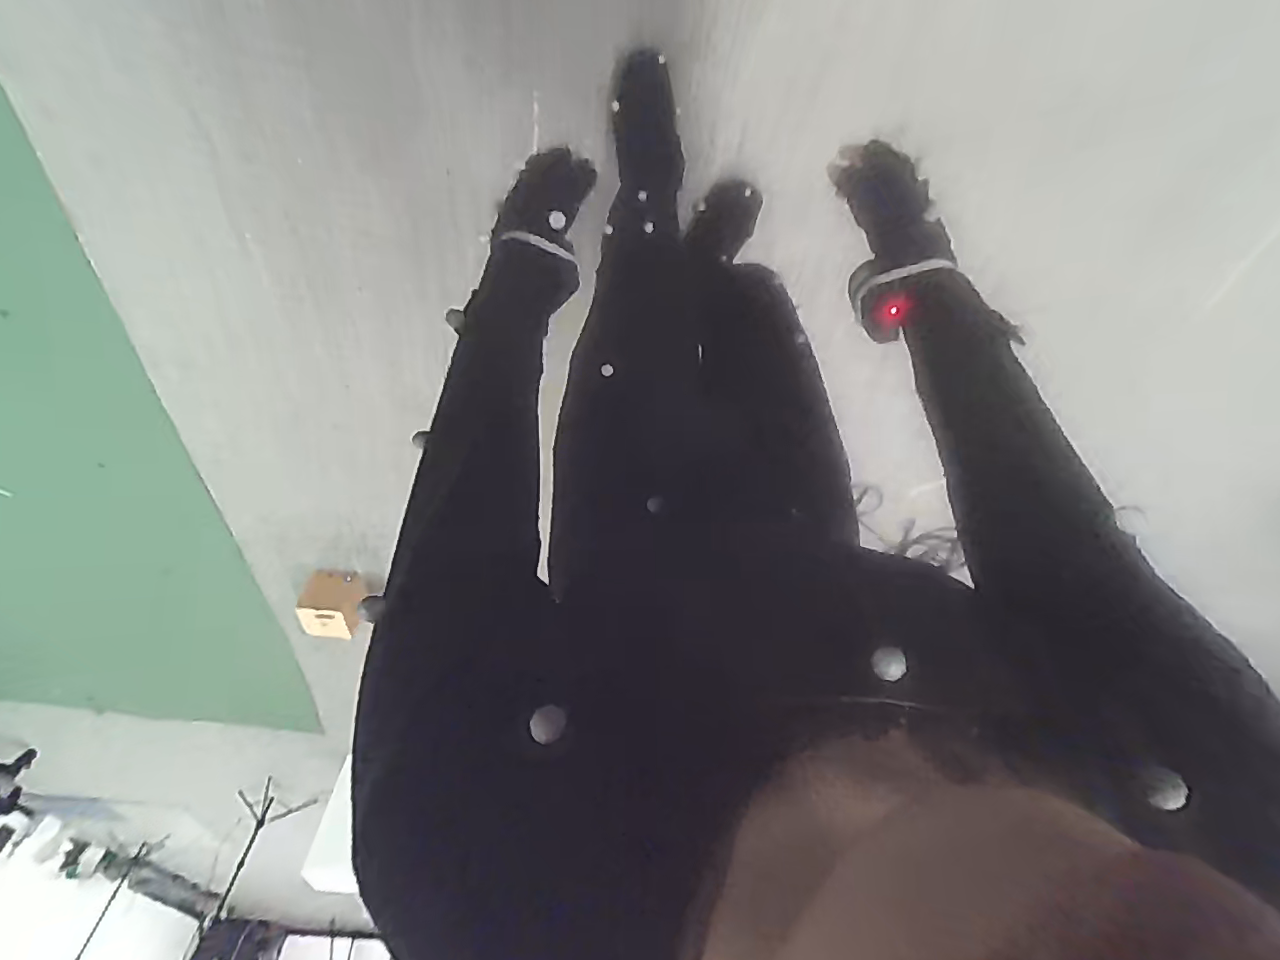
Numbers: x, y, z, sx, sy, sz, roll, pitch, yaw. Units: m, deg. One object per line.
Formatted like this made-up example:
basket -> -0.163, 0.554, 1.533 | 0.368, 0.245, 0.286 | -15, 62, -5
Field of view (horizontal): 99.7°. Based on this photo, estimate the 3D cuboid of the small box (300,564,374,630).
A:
small box -> -1.116, 0.431, 2.003 | 0.168, 0.176, 0.179 | 7, 133, -3
